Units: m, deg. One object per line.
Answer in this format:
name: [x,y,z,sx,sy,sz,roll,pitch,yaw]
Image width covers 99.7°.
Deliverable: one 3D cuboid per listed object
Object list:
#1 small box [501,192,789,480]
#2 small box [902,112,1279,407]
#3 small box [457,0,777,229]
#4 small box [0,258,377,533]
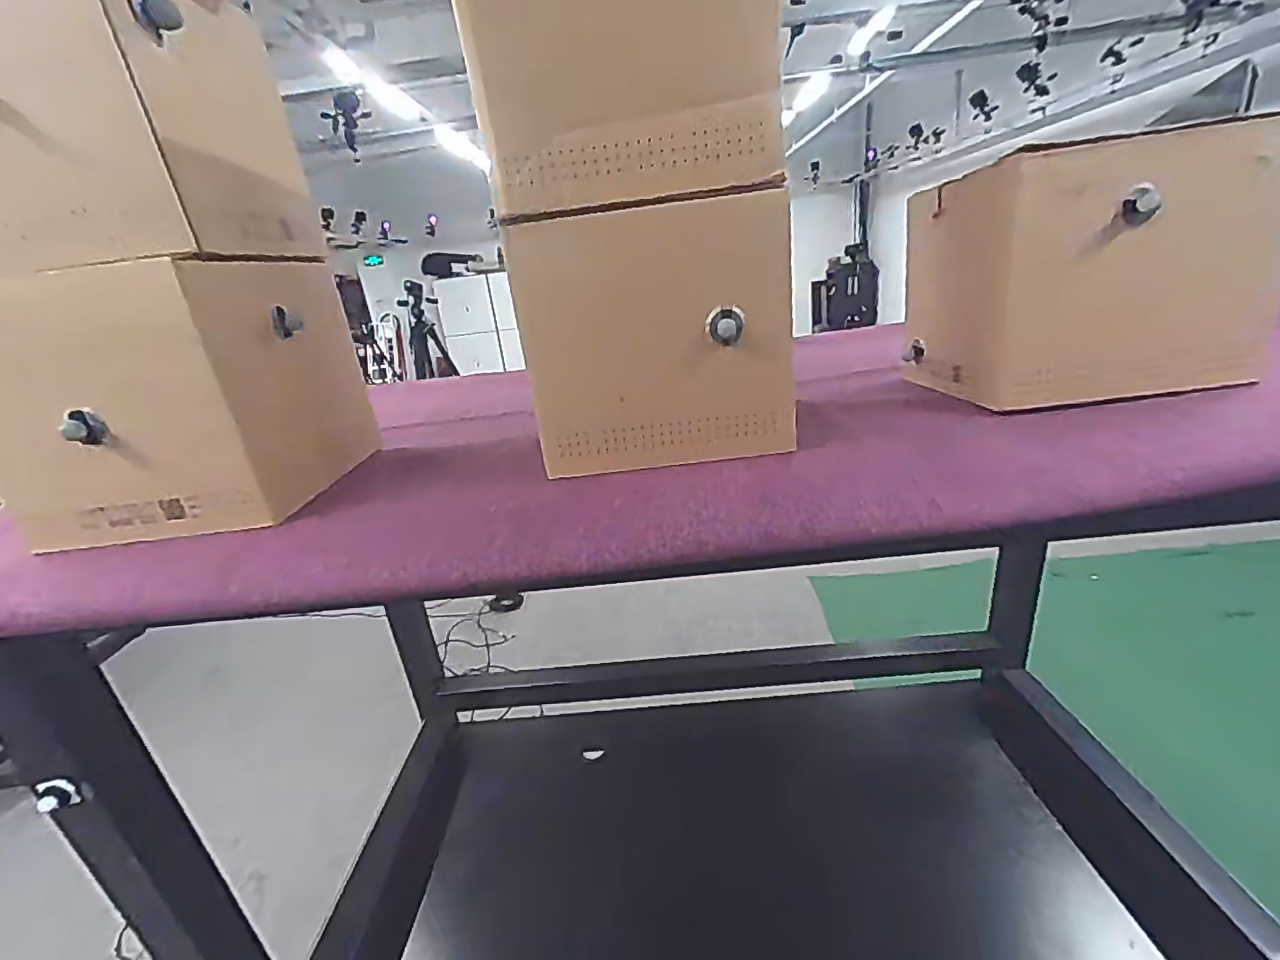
small box: [0.011,-0.111,0.424,0.179,0.176,0.168,-8,20,2]
small box: [0.331,-0.158,0.432,0.179,0.176,0.168,-6,18,4]
small box: [-0.015,-0.263,0.370,0.179,0.176,0.168,-7,20,0]
small box: [-0.328,-0.067,0.410,0.168,0.176,0.179,-6,21,0]
